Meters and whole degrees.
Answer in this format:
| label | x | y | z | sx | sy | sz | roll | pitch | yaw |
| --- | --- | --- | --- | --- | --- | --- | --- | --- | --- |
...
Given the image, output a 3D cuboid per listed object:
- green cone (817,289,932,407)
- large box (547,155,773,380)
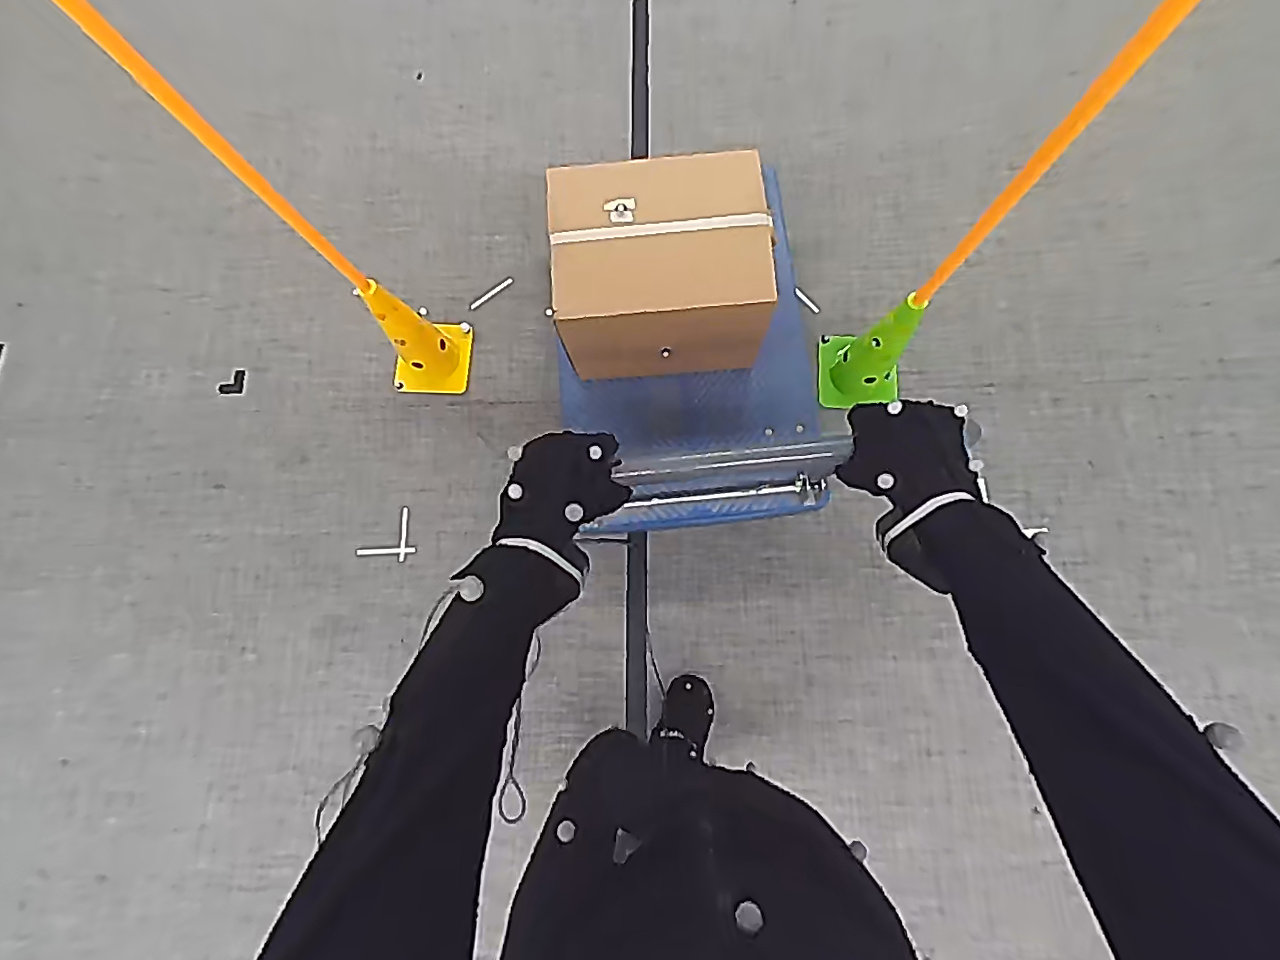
| label | x | y | z | sx | sy | sz | roll | pitch | yaw |
| --- | --- | --- | --- | --- | --- | --- | --- | --- | --- |
| green cone | 0.560 | -0.323 | 1.247 | 0.202 | 0.368 | 0.200 | 3 | 79 | 2 |
| large box | 0.041 | -0.420 | 1.146 | 0.408 | 0.320 | 0.320 | -4 | 79 | 3 |
